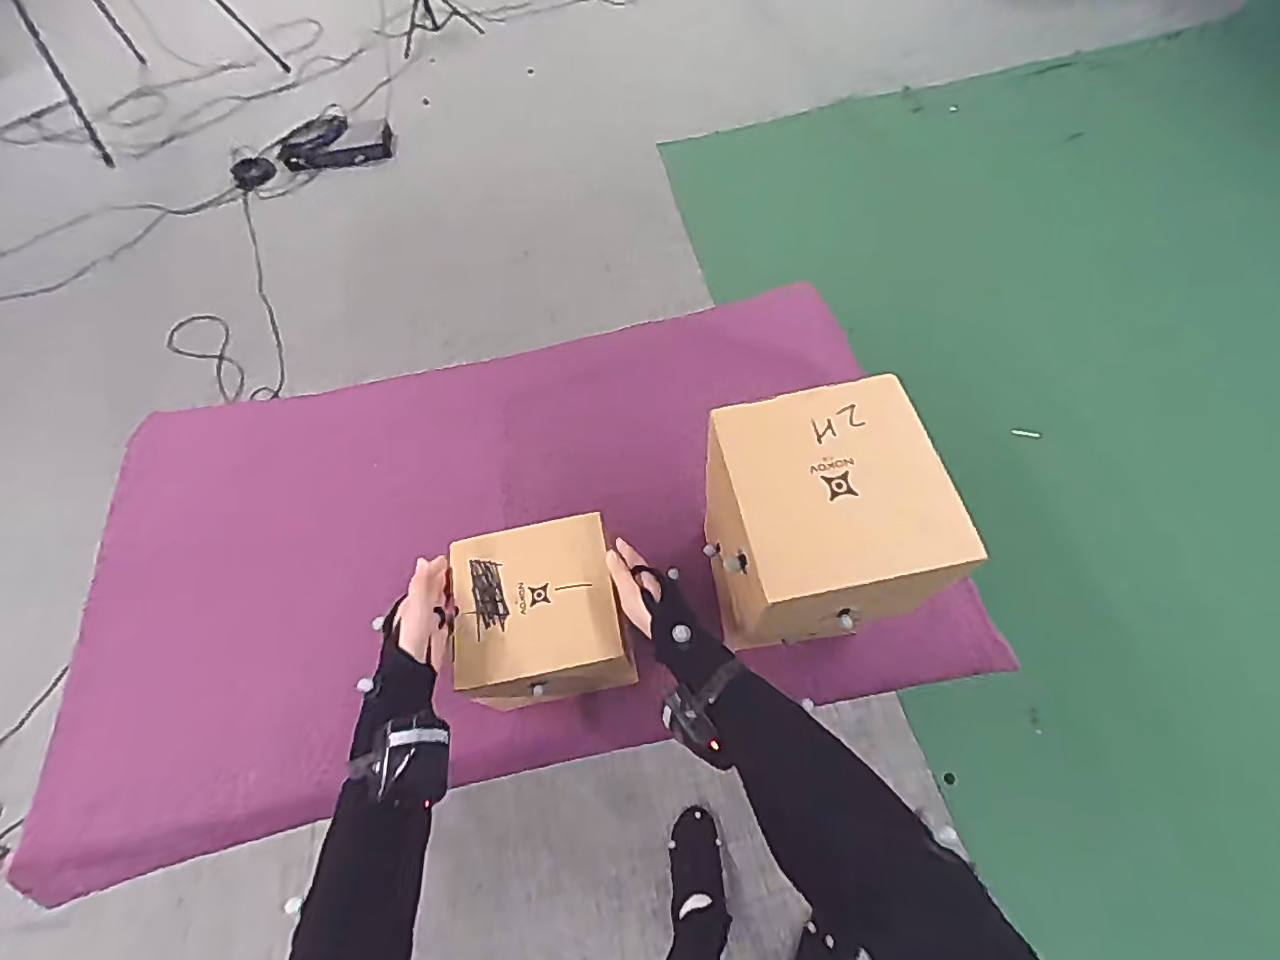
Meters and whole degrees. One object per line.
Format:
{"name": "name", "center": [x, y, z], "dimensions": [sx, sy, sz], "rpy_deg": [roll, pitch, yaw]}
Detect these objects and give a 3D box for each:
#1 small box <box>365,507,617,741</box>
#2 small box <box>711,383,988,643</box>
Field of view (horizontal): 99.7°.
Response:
{"name": "small box", "center": [-0.165, 0.145, 0.610], "dimensions": [0.168, 0.176, 0.179], "rpy_deg": [10, 51, 50]}
{"name": "small box", "center": [0.165, 0.042, 0.497], "dimensions": [0.168, 0.176, 0.179], "rpy_deg": [-11, 62, -1]}
